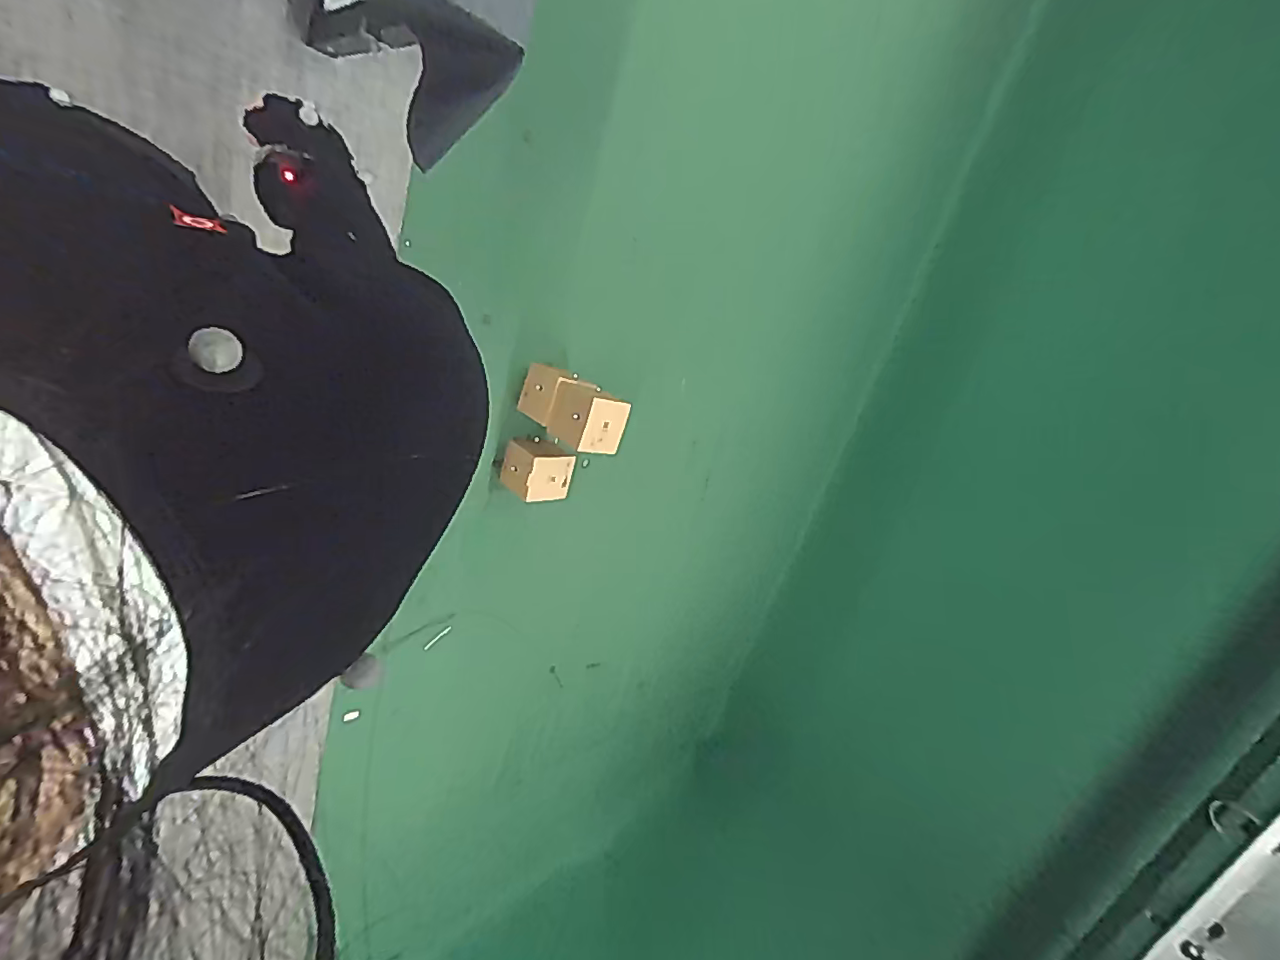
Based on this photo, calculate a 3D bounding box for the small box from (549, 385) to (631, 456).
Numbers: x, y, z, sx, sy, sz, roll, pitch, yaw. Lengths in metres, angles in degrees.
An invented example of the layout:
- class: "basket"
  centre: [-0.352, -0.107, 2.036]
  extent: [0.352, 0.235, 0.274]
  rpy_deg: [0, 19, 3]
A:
- class: "small box"
  centre: [-0.163, -0.189, 1.711]
  extent: [0.168, 0.176, 0.179]
  rpy_deg: [3, 112, -48]

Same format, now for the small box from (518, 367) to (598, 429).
- class: "small box"
  centre: [-0.278, -0.266, 1.802]
  extent: [0.179, 0.176, 0.168]
  rpy_deg: [4, 111, -49]
